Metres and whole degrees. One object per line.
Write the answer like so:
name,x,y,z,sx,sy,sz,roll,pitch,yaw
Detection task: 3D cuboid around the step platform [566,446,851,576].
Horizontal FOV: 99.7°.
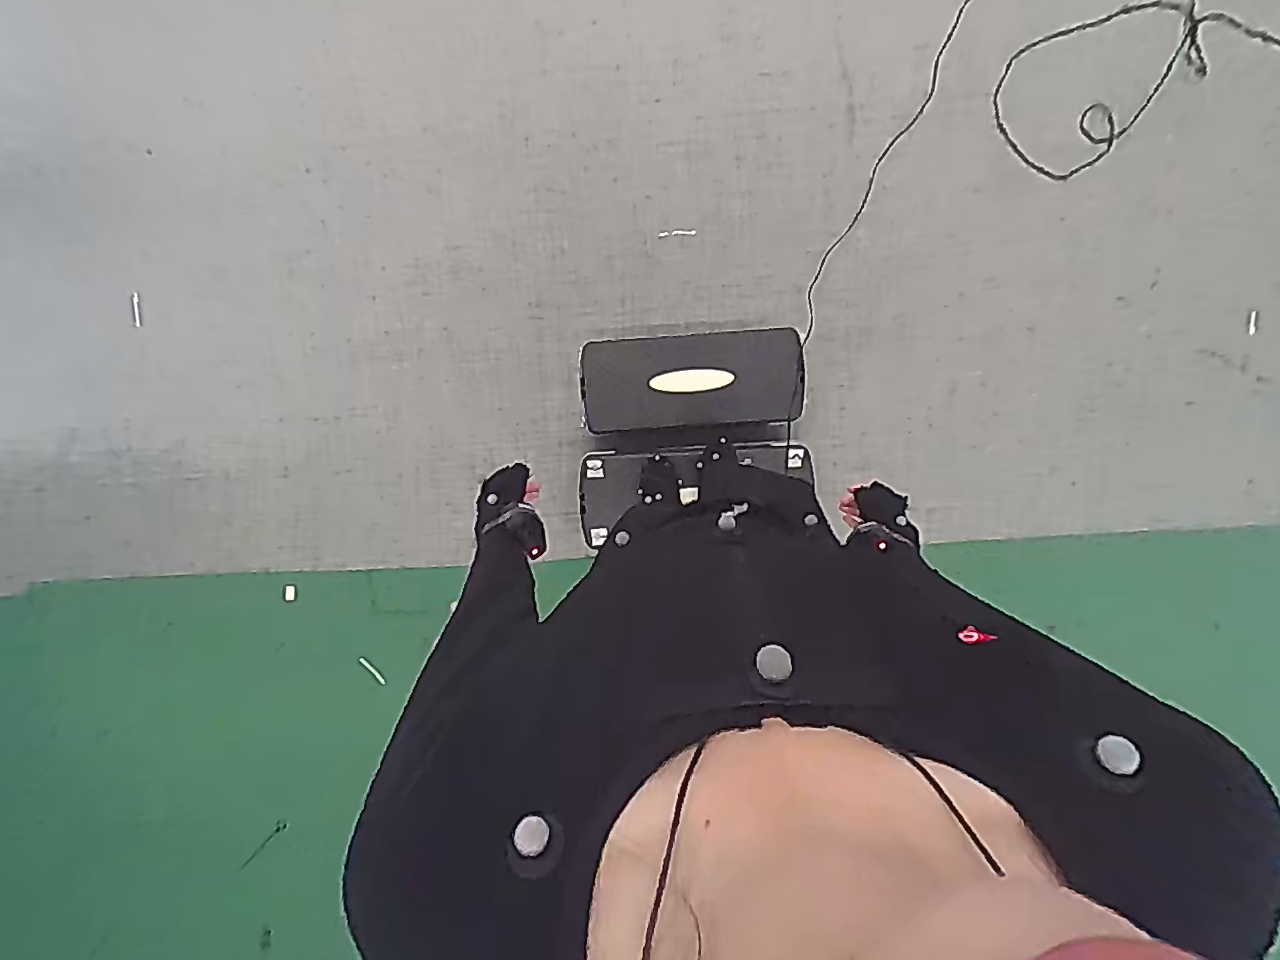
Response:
step platform,0.163,0.074,1.390,0.684,0.204,0.286,-3,93,2
